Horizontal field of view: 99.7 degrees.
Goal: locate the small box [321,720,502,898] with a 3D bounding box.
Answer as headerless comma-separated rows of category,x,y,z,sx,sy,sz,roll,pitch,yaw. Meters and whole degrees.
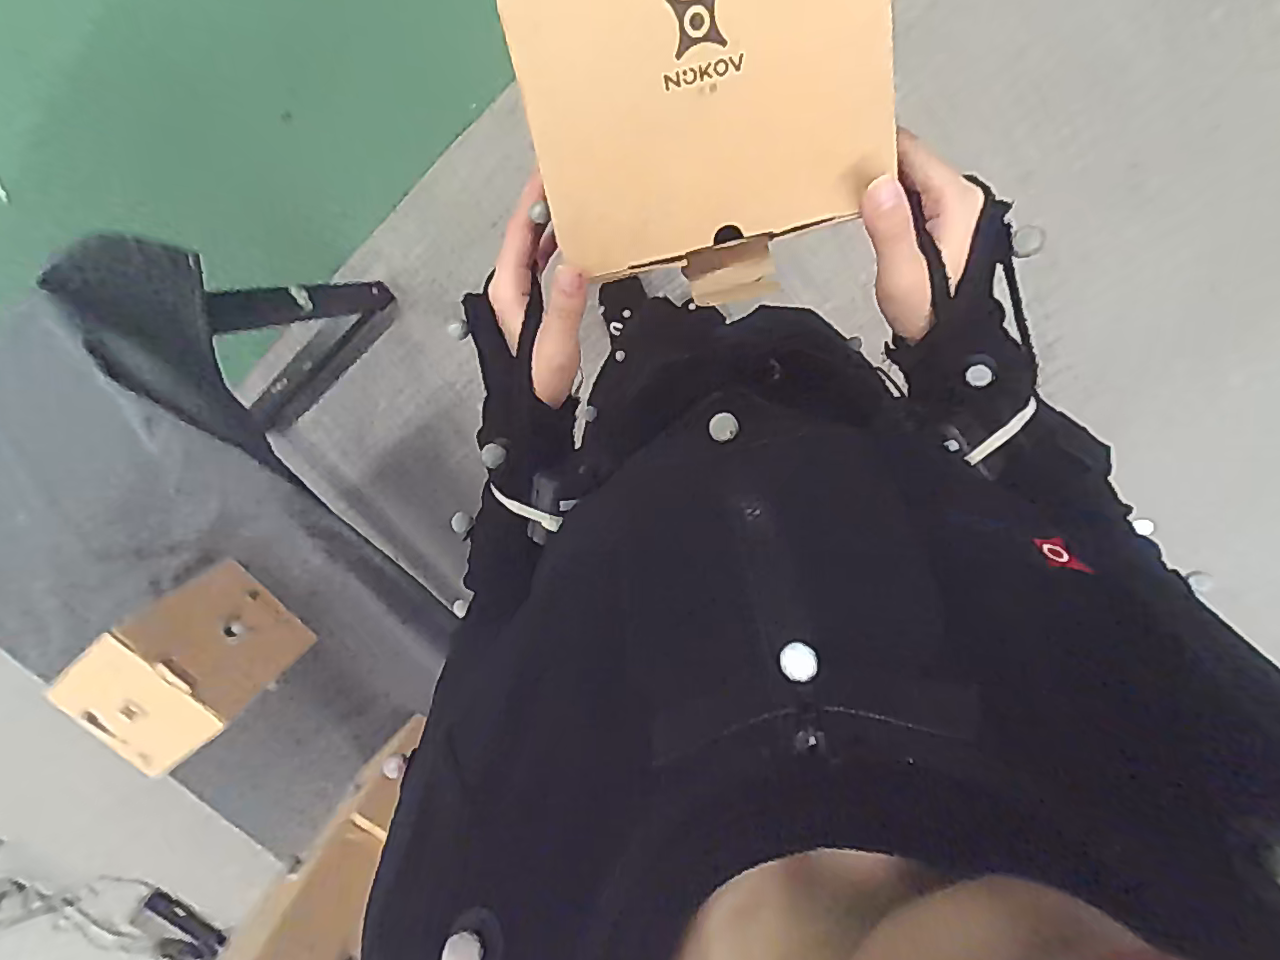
small box,-0.328,0.493,0.781,0.168,0.176,0.179,40,110,-10

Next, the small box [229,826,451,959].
small box,-0.359,0.558,0.635,0.179,0.176,0.168,44,108,-10

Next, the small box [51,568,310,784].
small box,-0.582,0.248,0.715,0.179,0.176,0.168,-36,104,17
